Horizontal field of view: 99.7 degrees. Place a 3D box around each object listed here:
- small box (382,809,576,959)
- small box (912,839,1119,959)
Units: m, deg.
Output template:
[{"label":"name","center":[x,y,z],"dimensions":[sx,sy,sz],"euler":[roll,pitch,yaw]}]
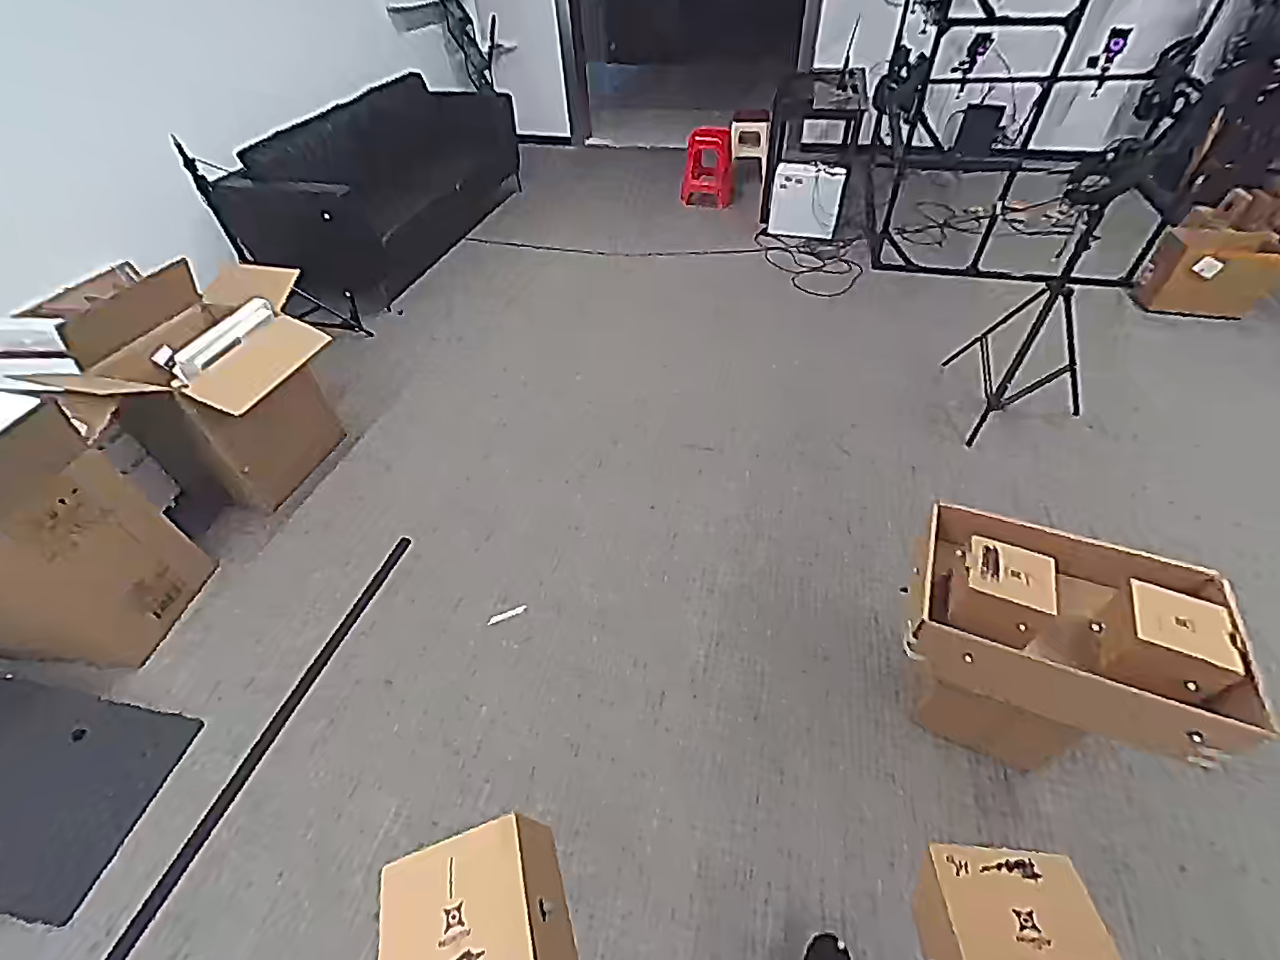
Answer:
[{"label":"small box","center":[-0.187,0.530,0.649],"dimensions":[0.168,0.176,0.179],"euler":[-20,50,-6]},{"label":"small box","center":[0.442,0.573,0.645],"dimensions":[0.168,0.176,0.179],"euler":[-1,28,10]}]
